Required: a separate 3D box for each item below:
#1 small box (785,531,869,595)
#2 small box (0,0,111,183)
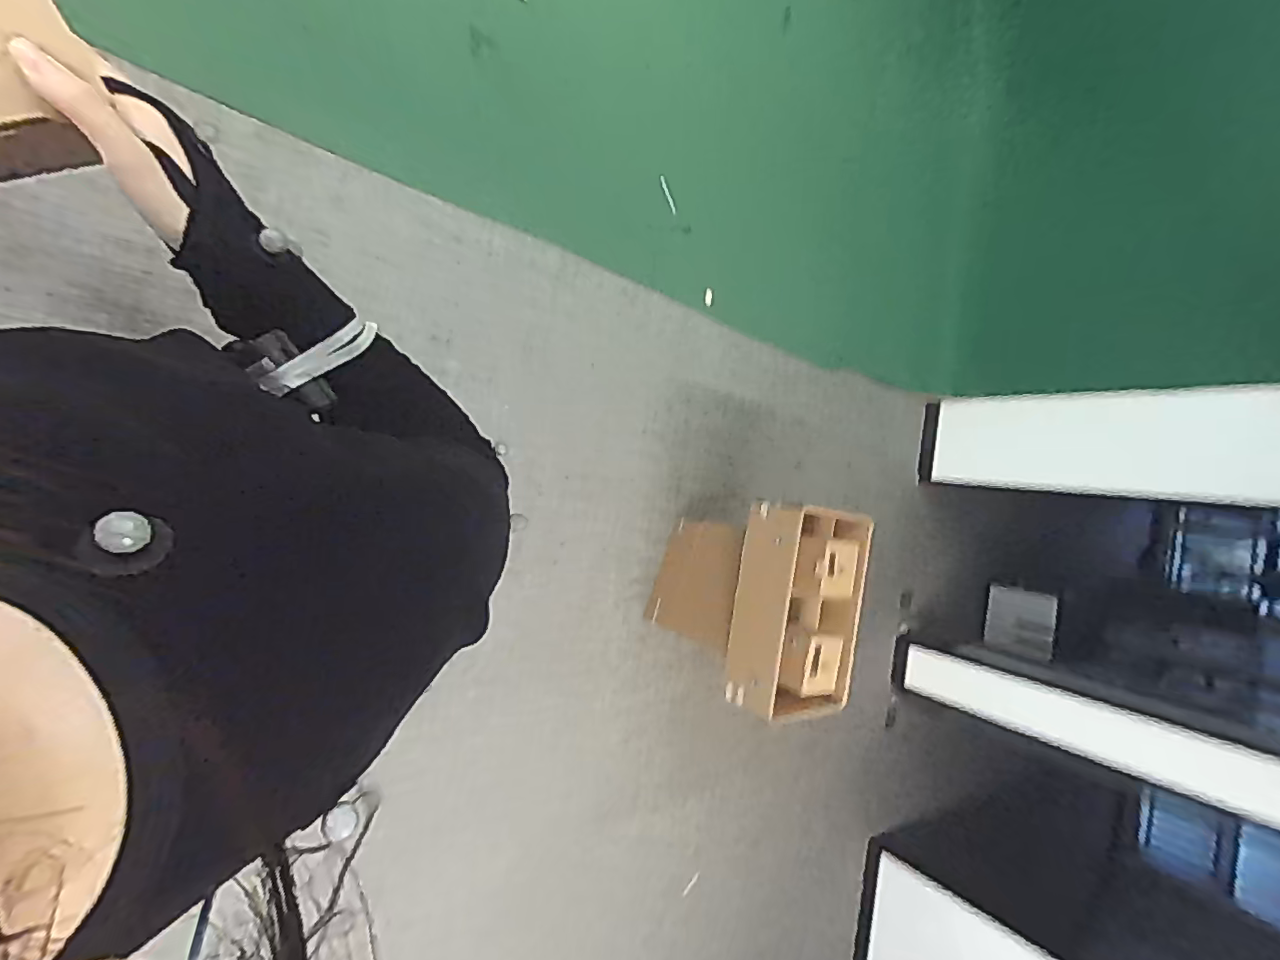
[{"bbox_3d":[0.565,0.251,1.644,0.179,0.176,0.168,9,90,-37],"label":"small box"},{"bbox_3d":[-0.410,-0.242,0.262,0.168,0.176,0.179,-36,128,-29],"label":"small box"}]
